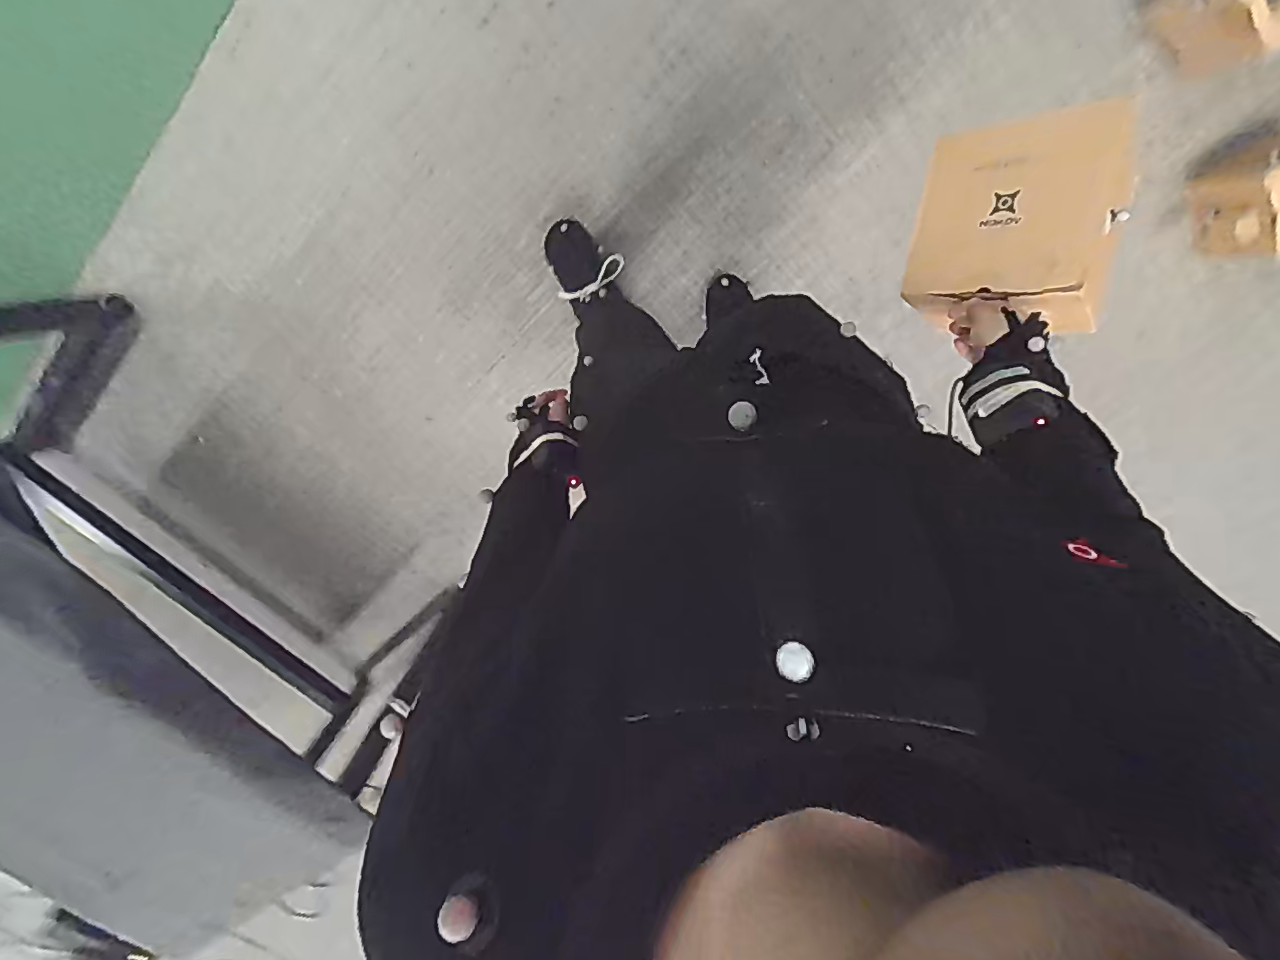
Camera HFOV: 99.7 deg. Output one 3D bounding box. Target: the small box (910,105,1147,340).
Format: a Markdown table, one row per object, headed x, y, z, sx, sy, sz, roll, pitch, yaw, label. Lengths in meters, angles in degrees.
| x | y | z | sx | sy | sz | roll | pitch | yaw | label |
| --- | --- | --- | --- | --- | --- | --- | --- | --- | --- |
| 0.426 | -0.259 | 0.595 | 0.168 | 0.176 | 0.179 | 16 | 98 | 41 | small box |

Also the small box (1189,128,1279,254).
| x | y | z | sx | sy | sz | roll | pitch | yaw | label |
| --- | --- | --- | --- | --- | --- | --- | --- | --- | --- |
| 1.188 | -0.540 | 0.993 | 0.179 | 0.176 | 0.168 | -29 | 109 | 16 | small box |
